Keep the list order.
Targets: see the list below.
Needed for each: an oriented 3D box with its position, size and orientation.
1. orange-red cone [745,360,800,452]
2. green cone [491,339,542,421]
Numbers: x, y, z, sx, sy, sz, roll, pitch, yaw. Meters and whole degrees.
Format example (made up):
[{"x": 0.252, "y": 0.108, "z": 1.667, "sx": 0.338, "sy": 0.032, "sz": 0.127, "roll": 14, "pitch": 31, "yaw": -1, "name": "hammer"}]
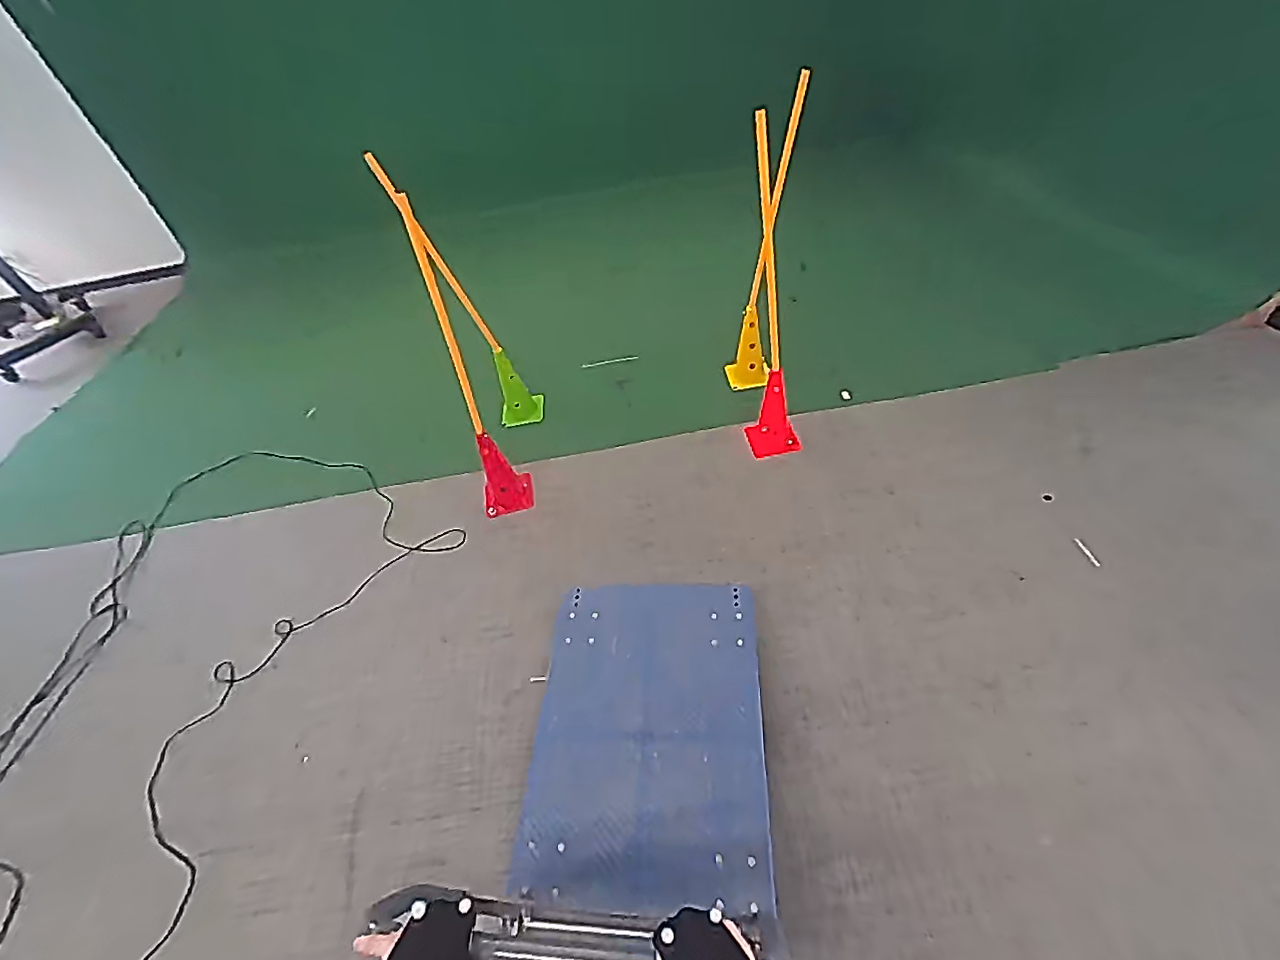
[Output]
[{"x": 0.525, "y": -0.310, "z": 2.118, "sx": 0.198, "sy": 0.360, "sz": 0.199, "roll": -9, "pitch": 45, "yaw": 1, "name": "orange-red cone"}, {"x": -0.597, "y": -0.478, "z": 2.477, "sx": 0.200, "sy": 0.368, "sz": 0.202, "roll": -10, "pitch": 45, "yaw": 2, "name": "green cone"}]
